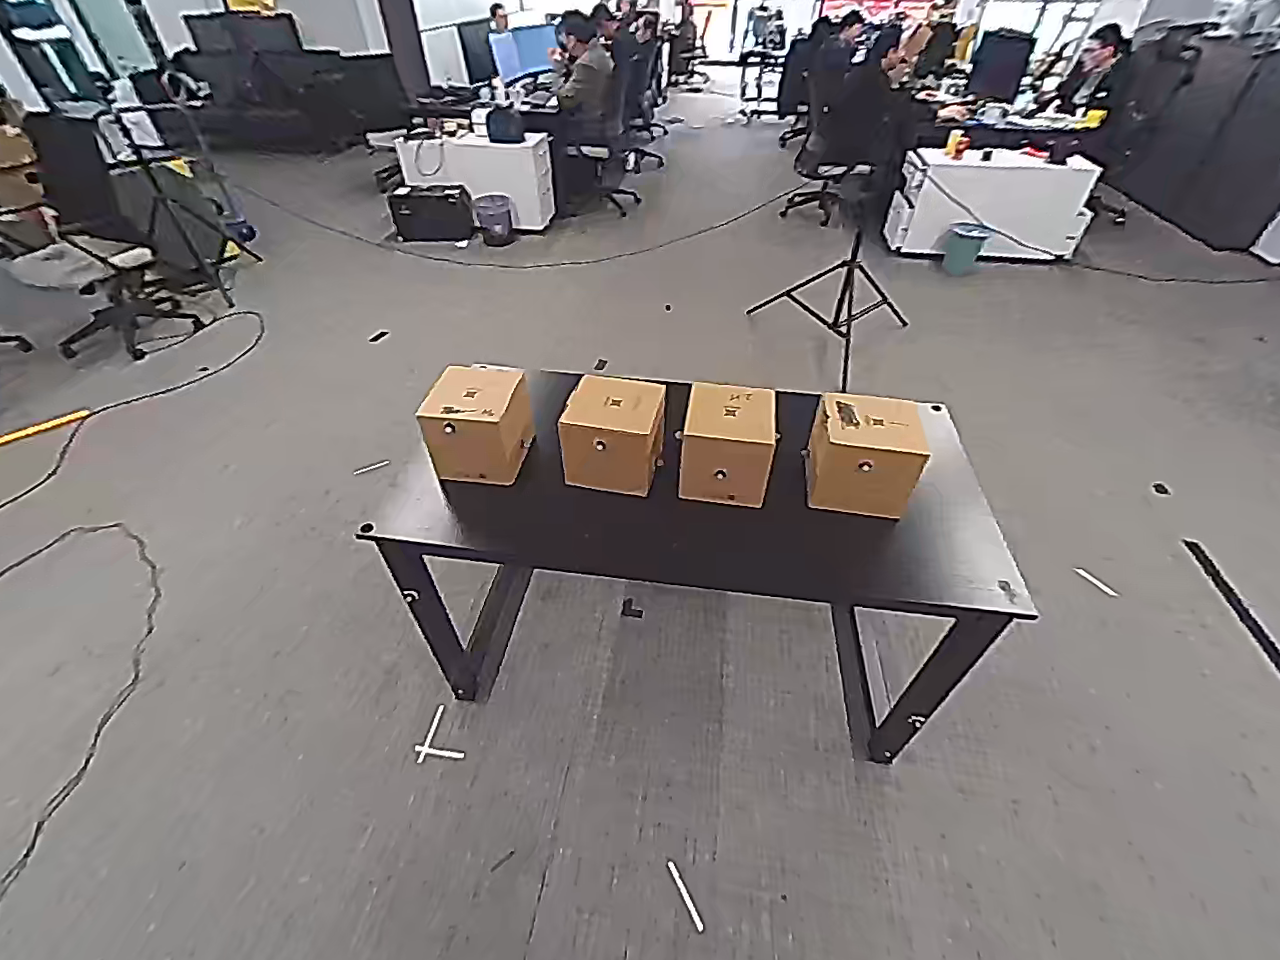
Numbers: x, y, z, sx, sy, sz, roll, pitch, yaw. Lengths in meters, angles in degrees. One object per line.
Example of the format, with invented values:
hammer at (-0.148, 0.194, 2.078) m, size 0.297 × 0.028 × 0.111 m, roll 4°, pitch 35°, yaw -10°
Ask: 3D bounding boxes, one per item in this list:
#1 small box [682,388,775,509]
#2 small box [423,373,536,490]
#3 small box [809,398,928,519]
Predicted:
small box at (0.177, -0.063, 1.093) m, size 0.168 × 0.176 × 0.179 m, roll 7°, pitch 44°, yaw 7°
small box at (-0.325, -0.103, 1.138) m, size 0.168 × 0.176 × 0.179 m, roll 5°, pitch 43°, yaw 6°
small box at (0.436, -0.041, 1.069) m, size 0.179 × 0.176 × 0.168 m, roll 8°, pitch 44°, yaw 8°
